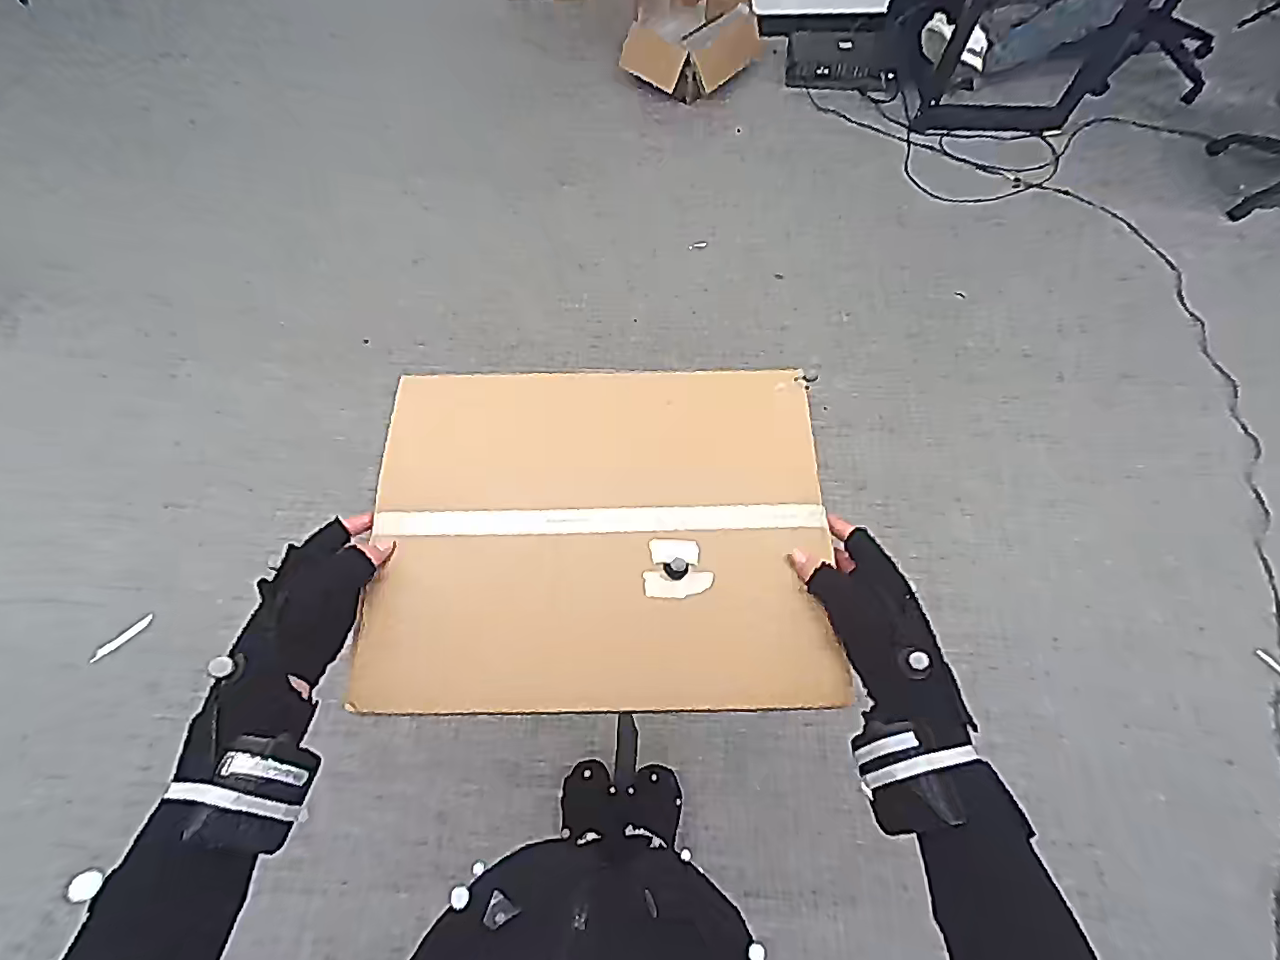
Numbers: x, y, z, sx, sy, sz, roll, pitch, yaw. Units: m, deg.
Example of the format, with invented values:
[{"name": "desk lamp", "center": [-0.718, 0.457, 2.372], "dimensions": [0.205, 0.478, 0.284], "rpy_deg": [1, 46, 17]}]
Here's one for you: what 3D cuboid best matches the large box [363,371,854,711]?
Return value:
[{"name": "large box", "center": [-0.030, 0.092, 0.625], "dimensions": [0.408, 0.320, 0.320], "rpy_deg": [0, 68, -1]}]
